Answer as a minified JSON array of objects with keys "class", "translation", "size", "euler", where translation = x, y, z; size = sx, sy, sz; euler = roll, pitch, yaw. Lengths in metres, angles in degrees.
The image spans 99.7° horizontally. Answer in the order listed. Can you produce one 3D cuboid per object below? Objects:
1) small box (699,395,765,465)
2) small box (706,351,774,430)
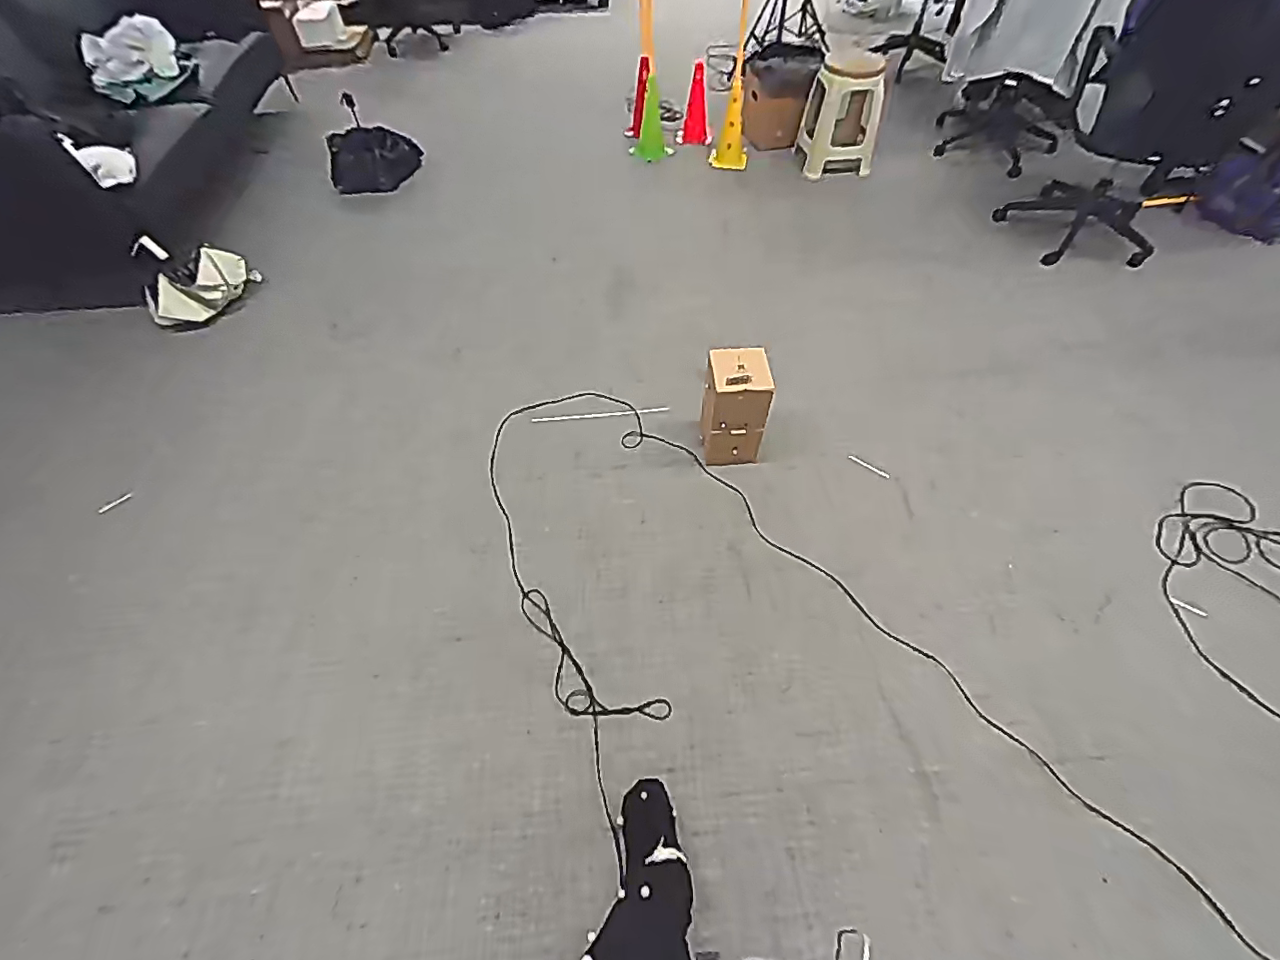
[{"class":"small box","translation":[0.291,-0.161,1.749],"size":[0.168,0.176,0.179],"euler":[-4,57,-5]},{"class":"small box","translation":[0.292,-0.260,1.614],"size":[0.168,0.176,0.179],"euler":[-3,54,-1]}]
